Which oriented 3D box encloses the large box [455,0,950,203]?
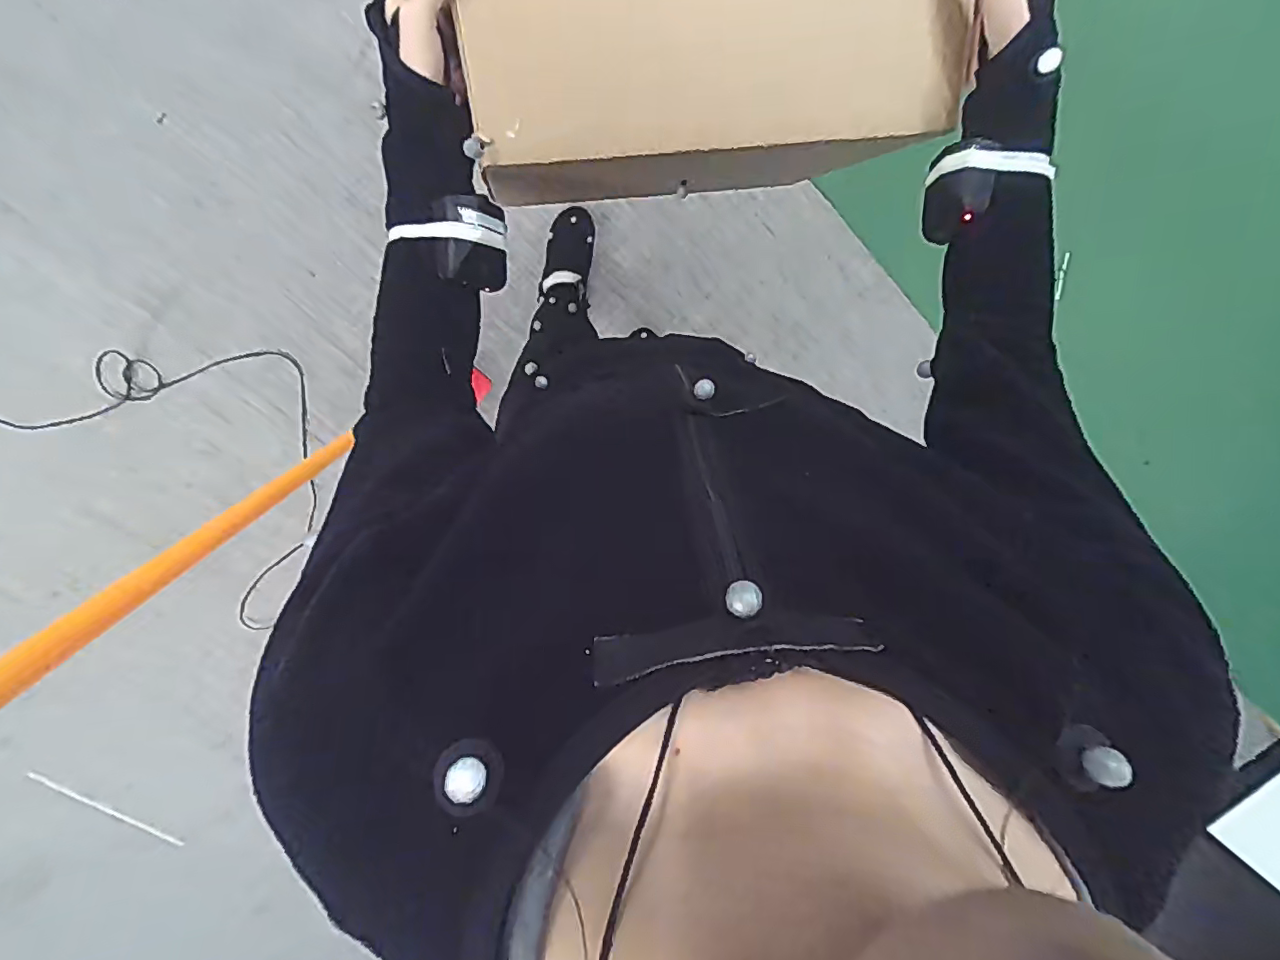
[{"bbox_3d":[0.031,-0.473,0.532,0.408,0.320,0.320,-9,112,-8],"label":"large box"}]
